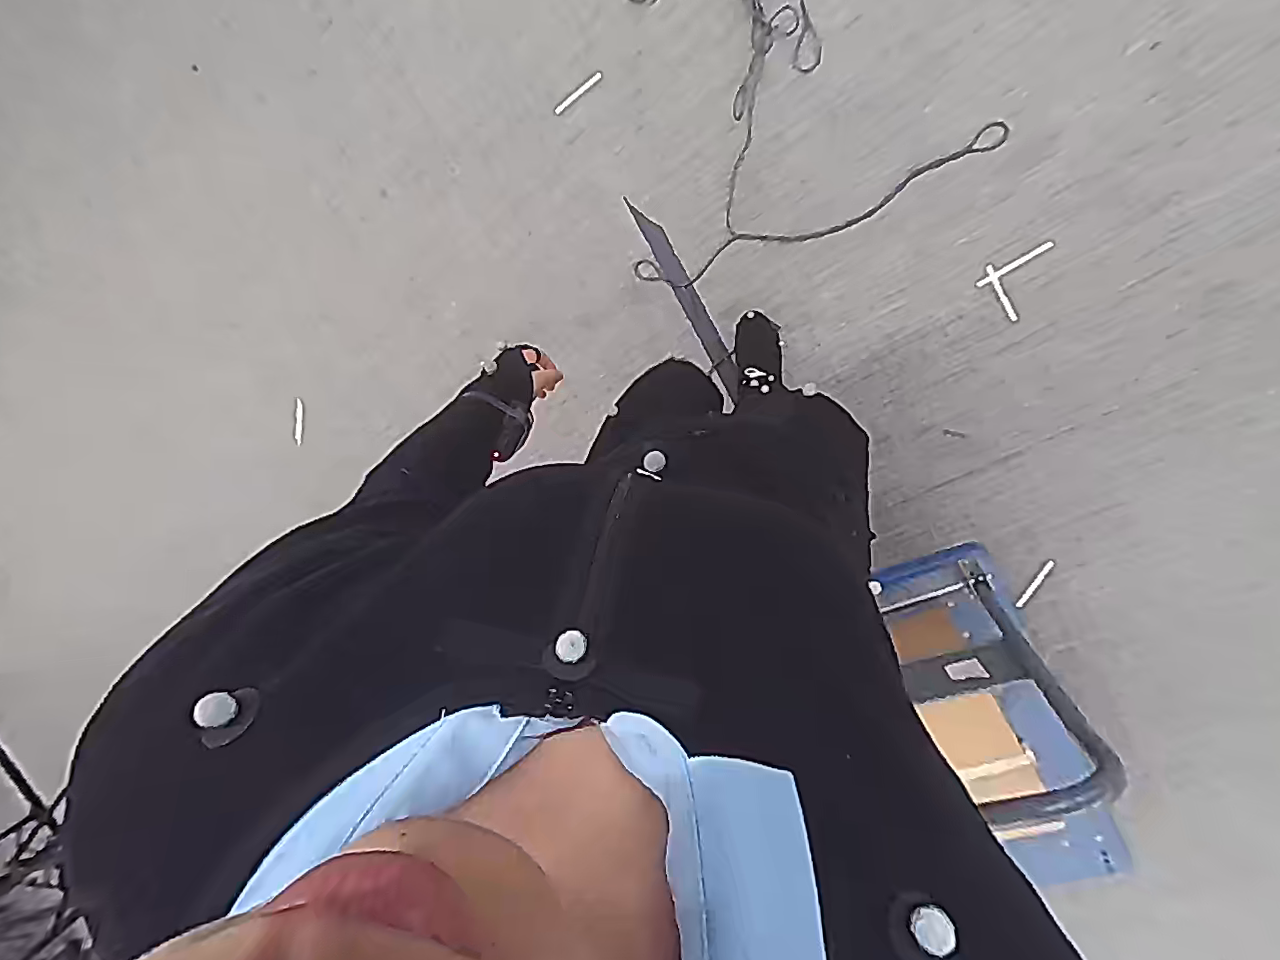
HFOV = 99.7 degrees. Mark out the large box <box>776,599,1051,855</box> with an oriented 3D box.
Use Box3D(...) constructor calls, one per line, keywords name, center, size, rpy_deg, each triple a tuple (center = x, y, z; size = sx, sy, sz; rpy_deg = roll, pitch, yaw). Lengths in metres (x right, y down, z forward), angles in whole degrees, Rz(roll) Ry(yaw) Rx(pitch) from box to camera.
Box3D(name="large box", center=(0.554, 0.522, 1.176), size=(0.408, 0.320, 0.320), rpy_deg=(-30, 94, 22))
